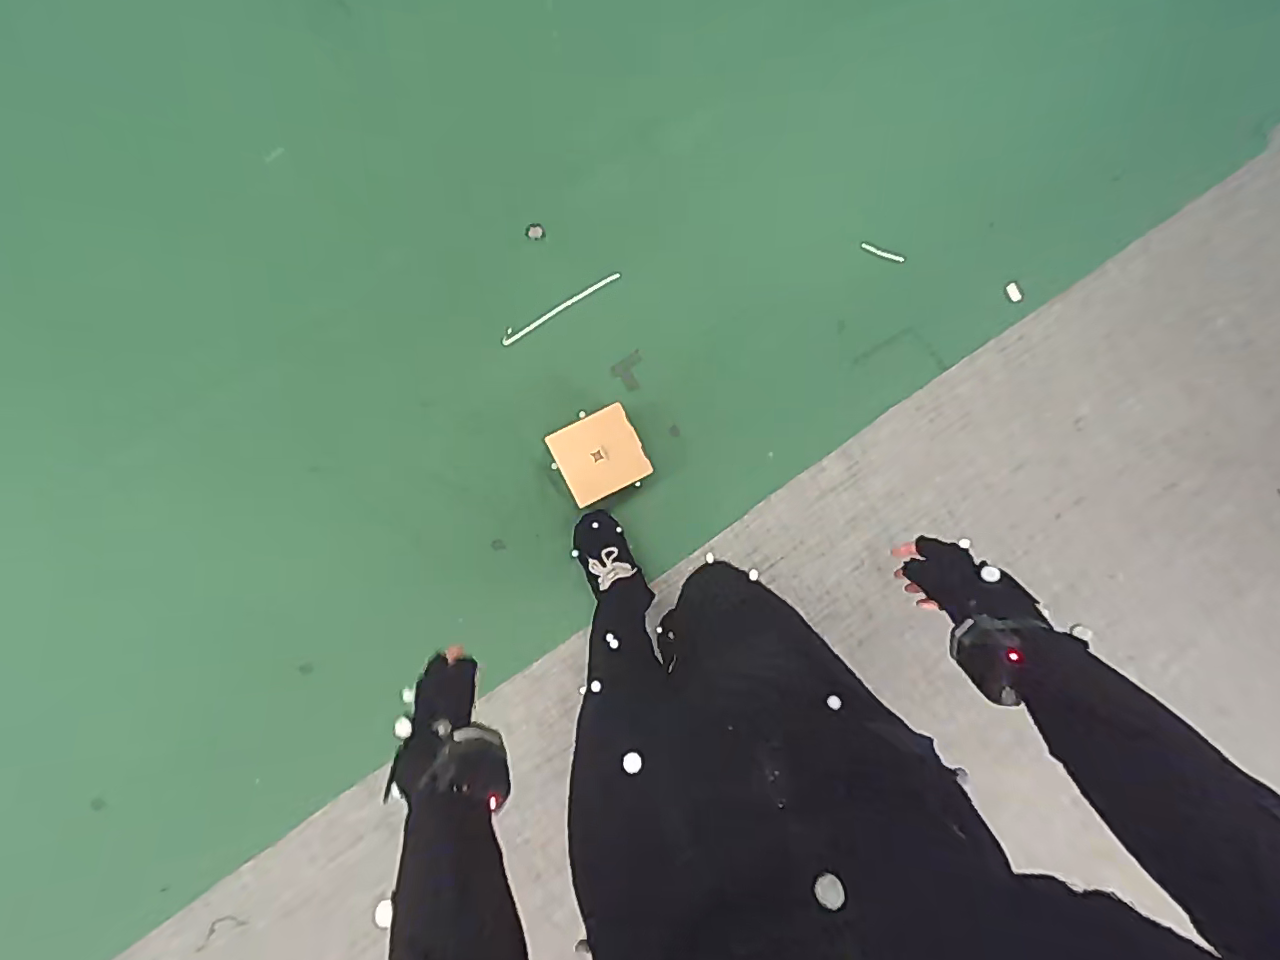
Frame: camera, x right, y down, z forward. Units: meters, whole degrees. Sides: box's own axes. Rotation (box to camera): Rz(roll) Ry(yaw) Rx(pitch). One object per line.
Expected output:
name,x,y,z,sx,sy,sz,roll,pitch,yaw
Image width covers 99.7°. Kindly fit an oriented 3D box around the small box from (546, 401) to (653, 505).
small box,-0.092,-0.056,1.197,0.179,0.176,0.168,-27,94,-7
